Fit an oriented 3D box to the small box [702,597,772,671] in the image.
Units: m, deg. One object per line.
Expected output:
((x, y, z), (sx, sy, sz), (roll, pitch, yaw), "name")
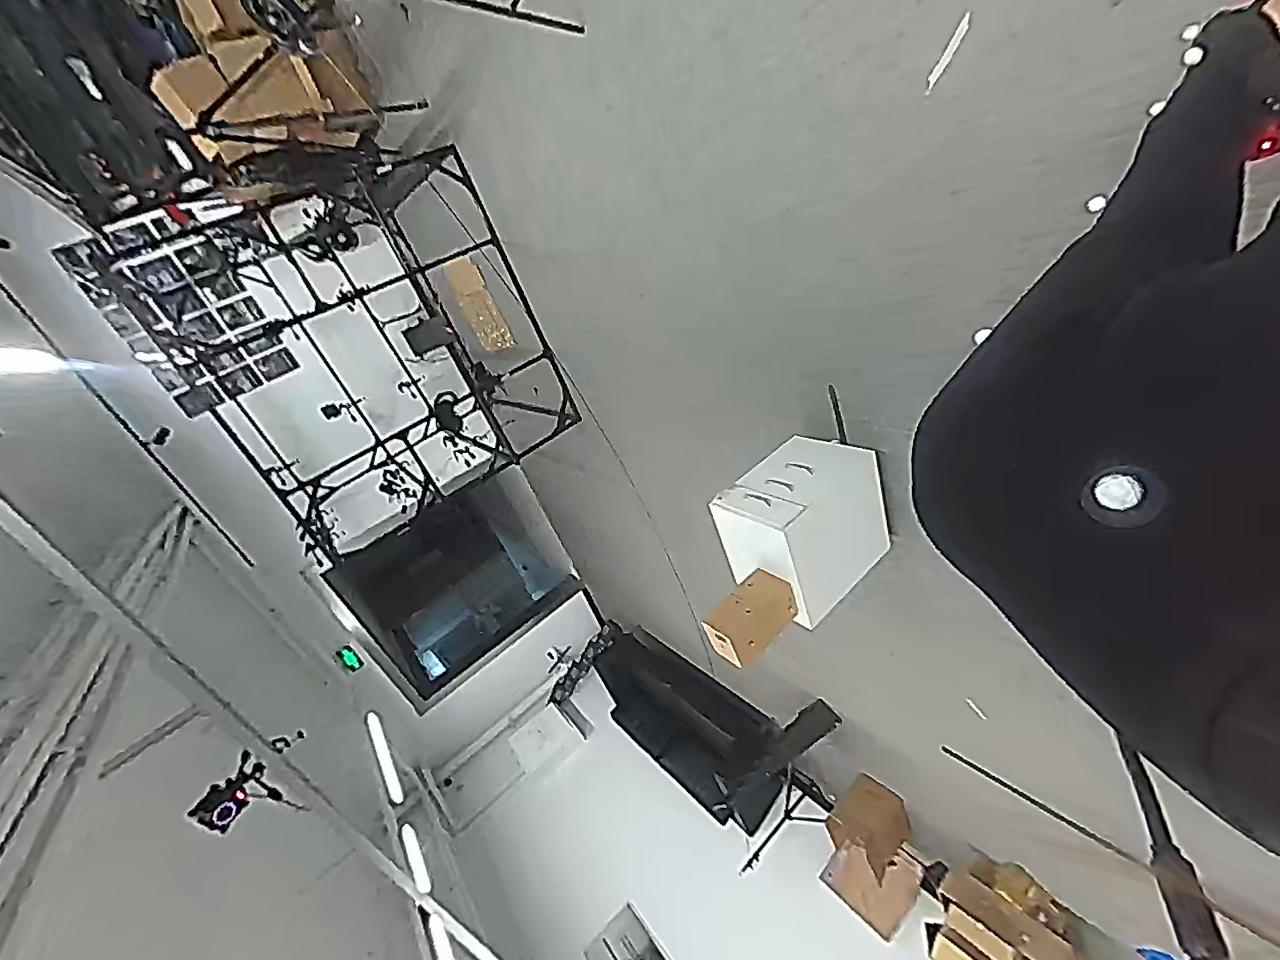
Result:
((0.370, 0.577, 2.054), (0.168, 0.176, 0.179), (19, 141, 56), "small box")

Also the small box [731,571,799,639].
((0.491, 0.483, 2.115), (0.179, 0.176, 0.168), (22, 142, 52), "small box")
